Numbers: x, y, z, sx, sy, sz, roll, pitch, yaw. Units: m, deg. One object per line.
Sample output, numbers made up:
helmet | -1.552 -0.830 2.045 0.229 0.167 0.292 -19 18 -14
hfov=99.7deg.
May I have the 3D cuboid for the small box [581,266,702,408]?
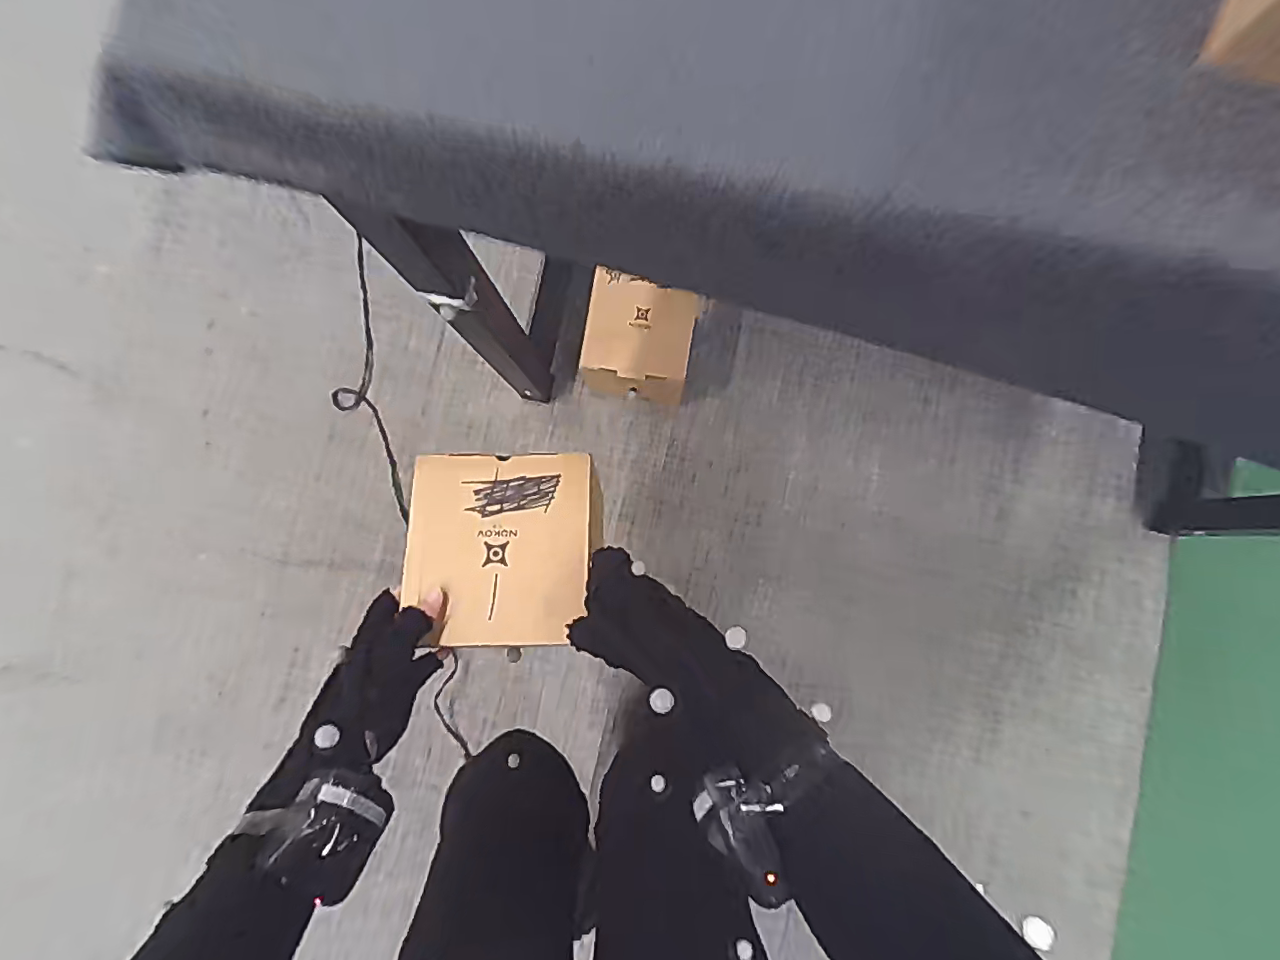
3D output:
small box | 0.006 -0.230 0.911 0.168 0.176 0.179 9 85 2
